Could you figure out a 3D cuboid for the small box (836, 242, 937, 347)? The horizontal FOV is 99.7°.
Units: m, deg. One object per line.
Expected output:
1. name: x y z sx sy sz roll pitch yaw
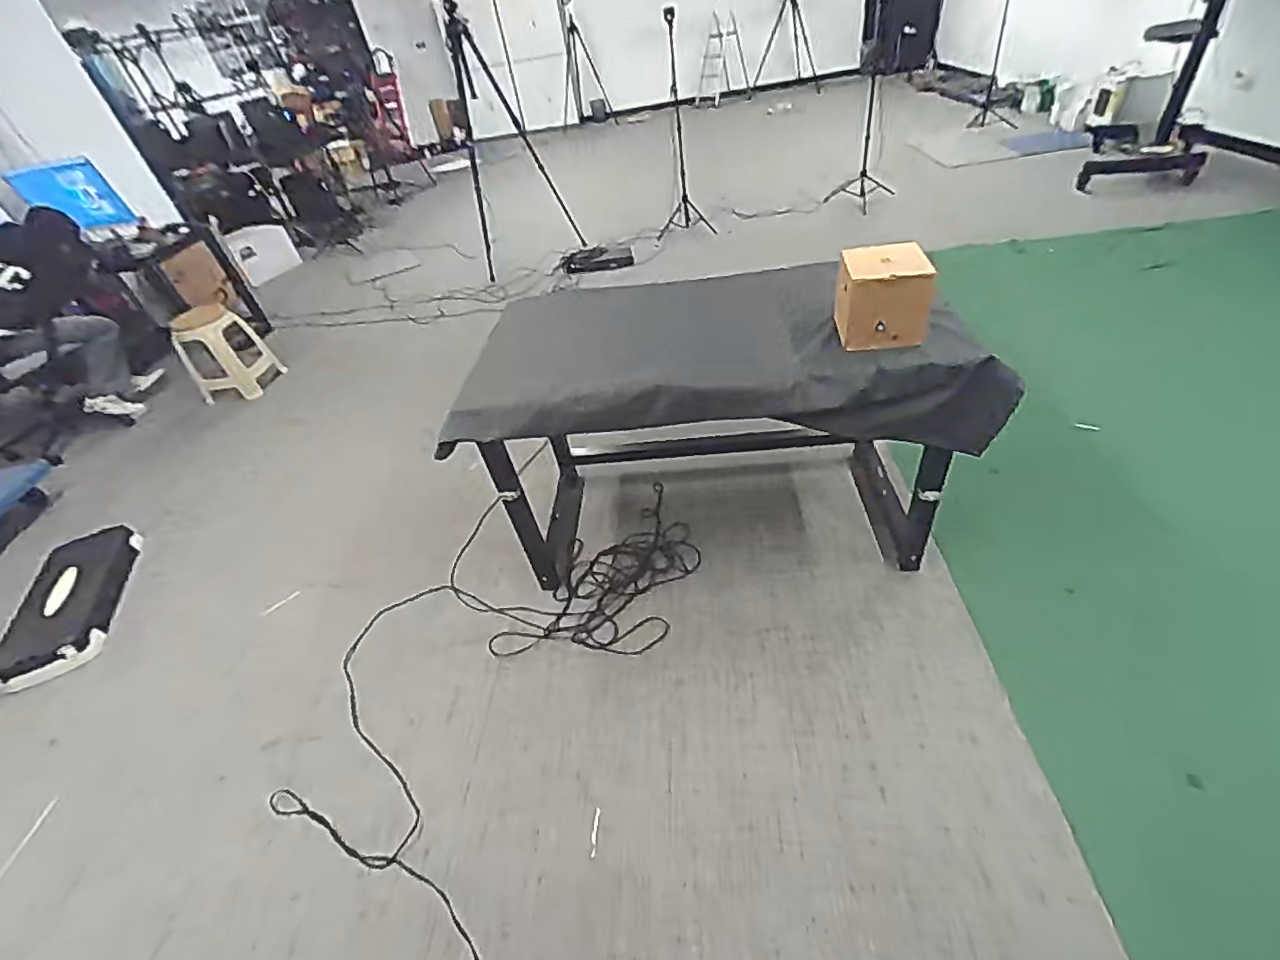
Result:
1. small box: 0.546 -0.418 1.224 0.168 0.176 0.179 -2 42 11
